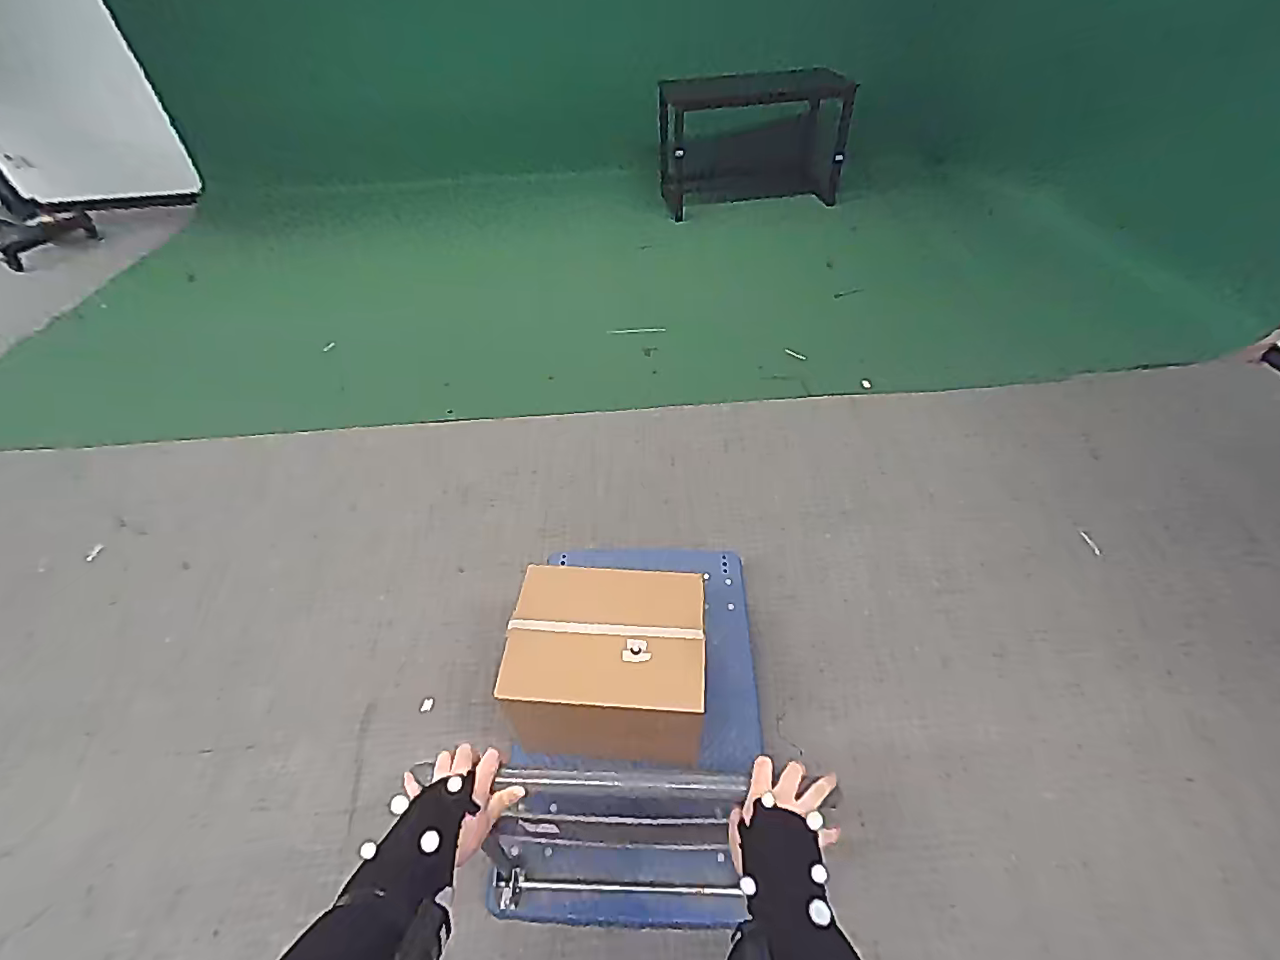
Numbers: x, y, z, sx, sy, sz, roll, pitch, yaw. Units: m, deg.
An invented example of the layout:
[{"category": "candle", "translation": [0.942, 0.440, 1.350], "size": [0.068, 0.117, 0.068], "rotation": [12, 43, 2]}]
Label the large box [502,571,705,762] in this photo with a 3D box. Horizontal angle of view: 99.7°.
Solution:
[{"category": "large box", "translation": [-0.067, 0.431, 1.251], "size": [0.408, 0.320, 0.320], "rotation": [3, 45, 3]}]
